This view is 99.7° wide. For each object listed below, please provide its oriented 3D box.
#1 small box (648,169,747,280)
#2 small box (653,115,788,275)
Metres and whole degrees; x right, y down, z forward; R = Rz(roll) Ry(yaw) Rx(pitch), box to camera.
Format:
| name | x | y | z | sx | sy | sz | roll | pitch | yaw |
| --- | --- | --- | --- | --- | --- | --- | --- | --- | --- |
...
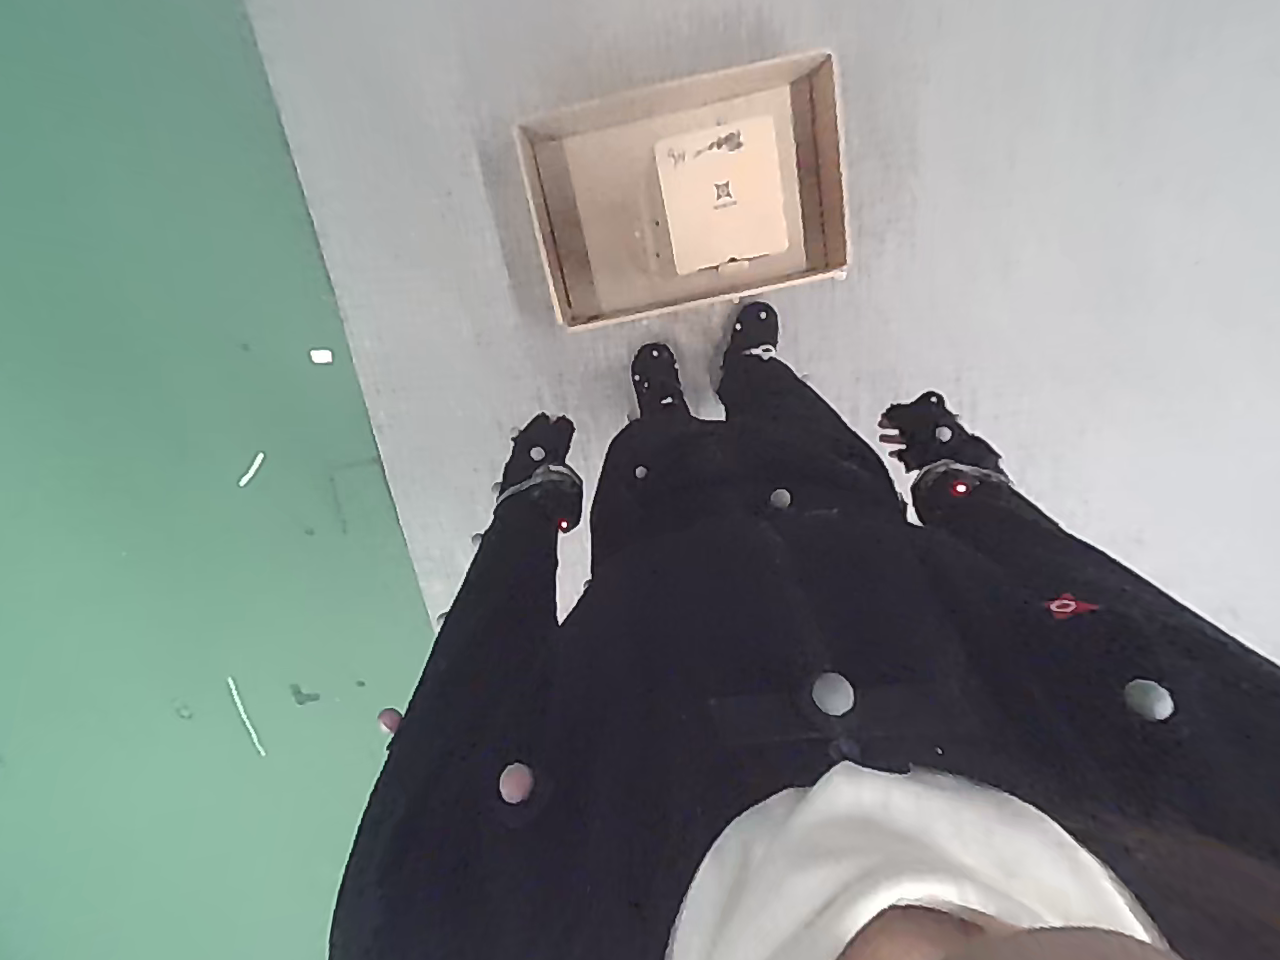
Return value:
| name | x | y | z | sx | sy | sz | roll | pitch | yaw |
| --- | --- | --- | --- | --- | --- | --- | --- | --- | --- |
| small box | 0.114 | -0.470 | 0.971 | 0.168 | 0.176 | 0.179 | -15 | 109 | 4 |
| small box | 0.117 | -0.423 | 0.831 | 0.168 | 0.176 | 0.179 | -12 | 109 | 3 |
